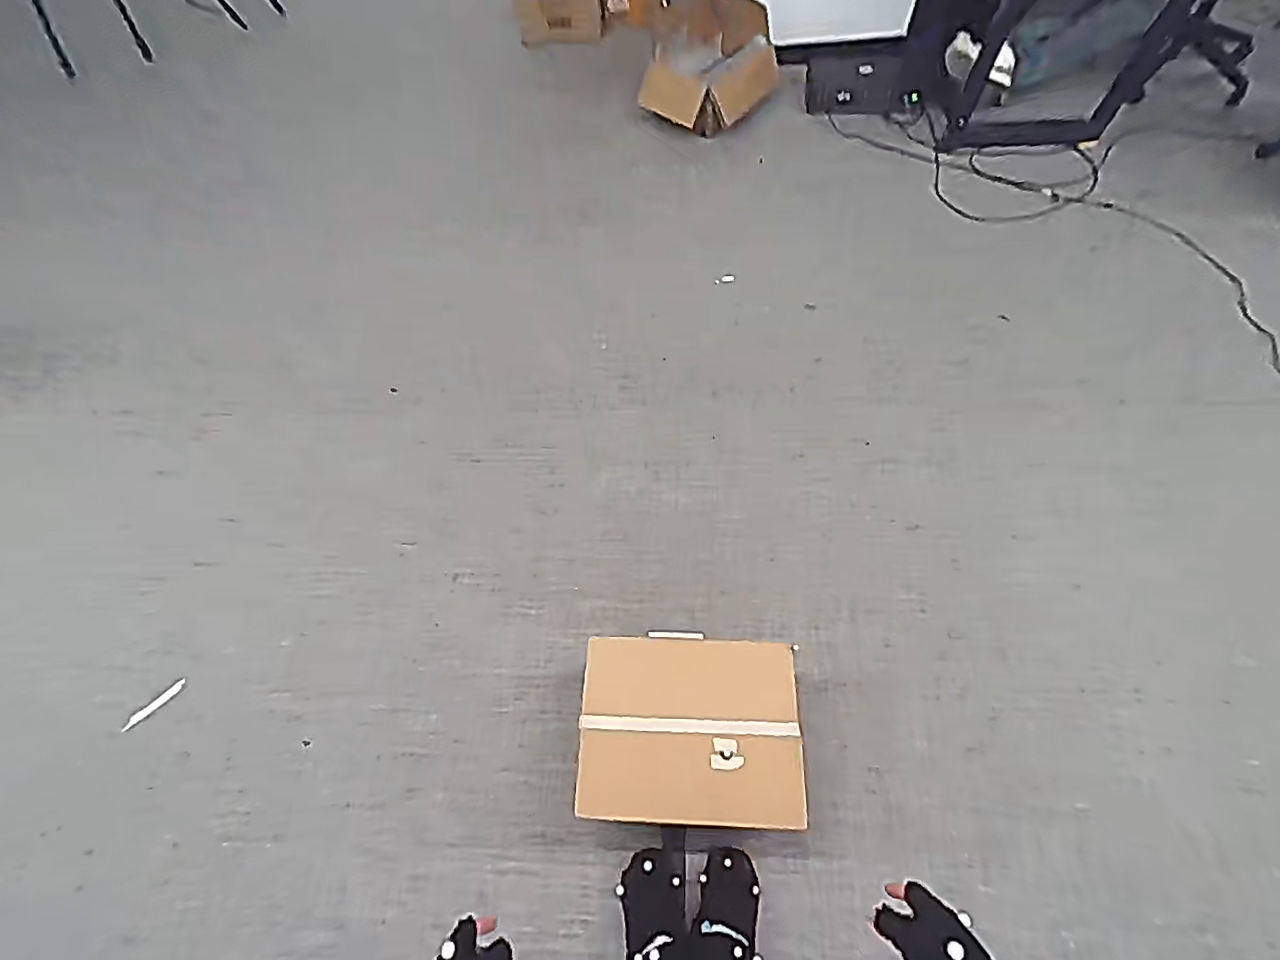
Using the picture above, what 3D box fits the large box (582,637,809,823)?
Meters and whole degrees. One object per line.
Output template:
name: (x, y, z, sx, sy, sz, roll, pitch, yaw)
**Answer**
large box: (0.102, 0.521, 1.138, 0.408, 0.320, 0.320, 1, 64, 3)
